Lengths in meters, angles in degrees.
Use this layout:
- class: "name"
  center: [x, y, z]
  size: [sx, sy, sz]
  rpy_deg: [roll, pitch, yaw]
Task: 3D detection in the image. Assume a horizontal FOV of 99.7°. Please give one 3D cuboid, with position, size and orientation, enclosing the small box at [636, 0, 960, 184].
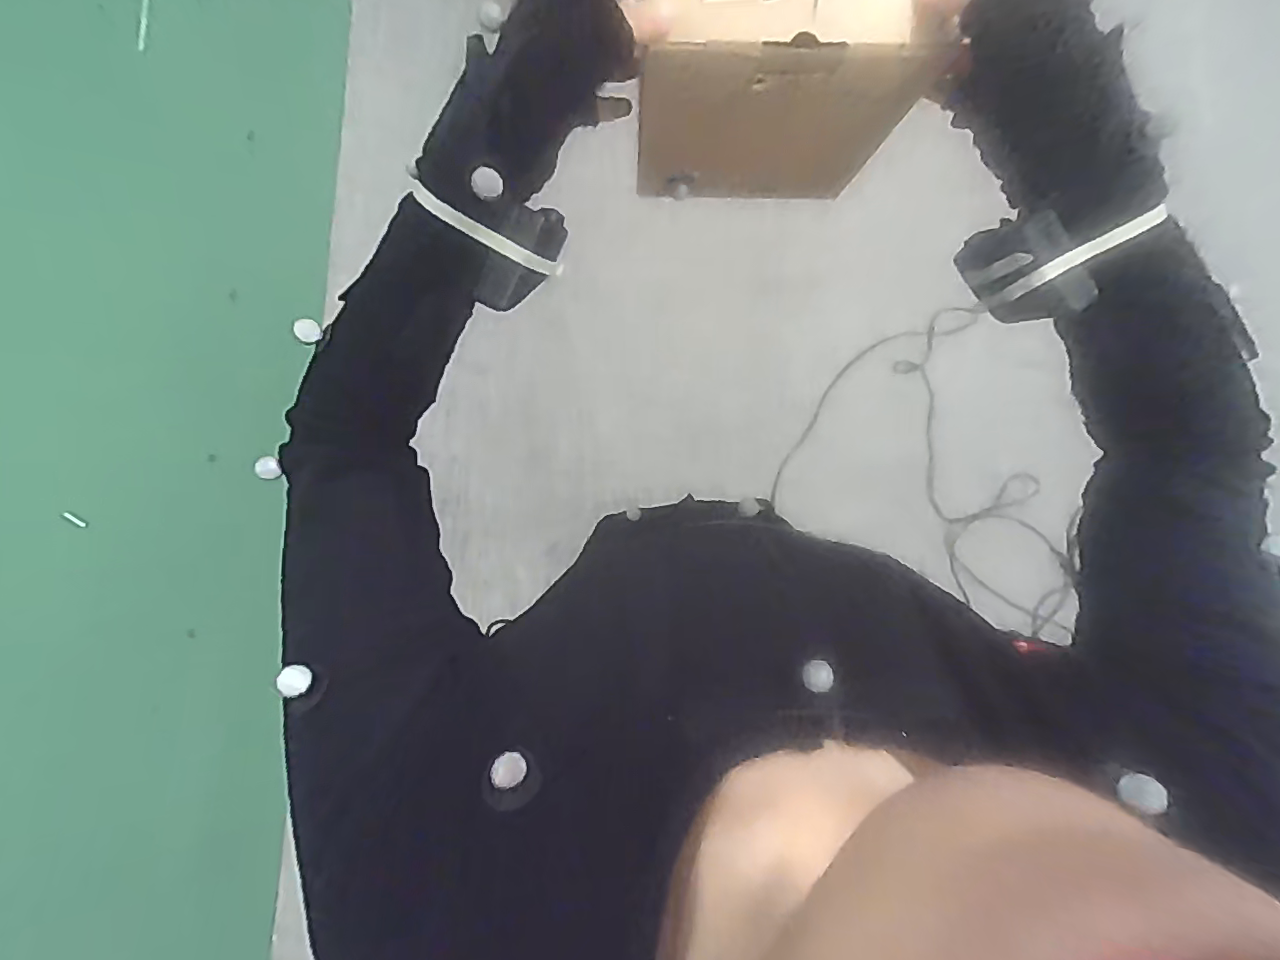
- class: "small box"
  center: [0.083, -0.320, 0.356]
  size: [0.168, 0.176, 0.179]
  rpy_deg: [-1, 92, -2]
